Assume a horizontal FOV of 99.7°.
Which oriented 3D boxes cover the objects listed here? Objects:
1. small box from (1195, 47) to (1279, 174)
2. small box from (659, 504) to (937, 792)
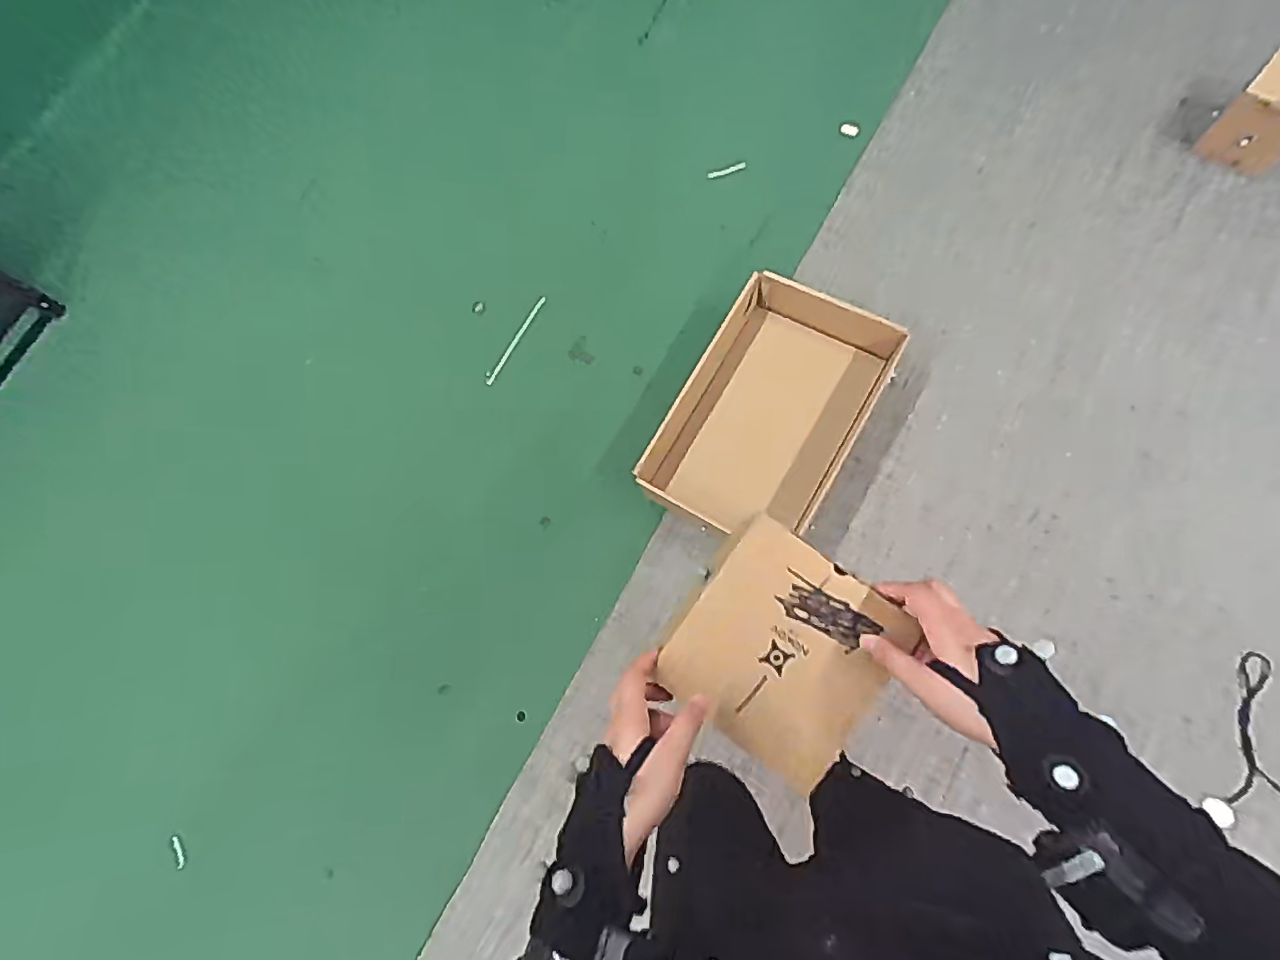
[{"bbox_3d":[1.532,-0.895,1.318,0.168,0.176,0.179,40,85,17],"label":"small box"},{"bbox_3d":[0.133,0.143,0.523,0.168,0.176,0.179,36,88,7],"label":"small box"}]
